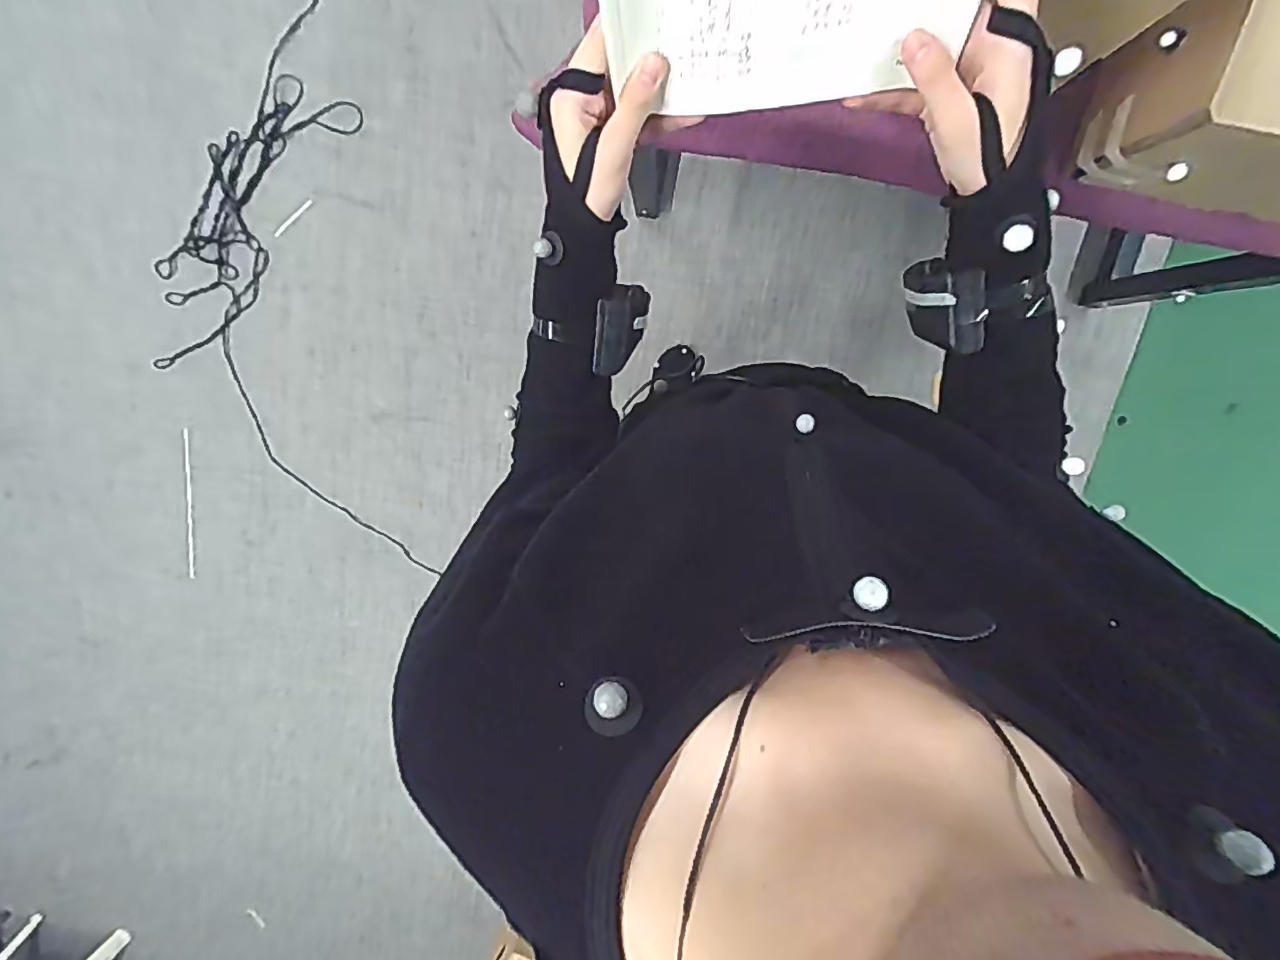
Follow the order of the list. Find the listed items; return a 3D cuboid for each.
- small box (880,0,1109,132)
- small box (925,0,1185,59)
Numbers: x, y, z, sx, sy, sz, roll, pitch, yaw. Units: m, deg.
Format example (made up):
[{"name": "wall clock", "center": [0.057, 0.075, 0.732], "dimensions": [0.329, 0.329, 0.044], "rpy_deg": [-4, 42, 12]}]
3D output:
[{"name": "small box", "center": [0.376, -0.502, 0.565], "dimensions": [0.168, 0.176, 0.179], "rpy_deg": [12, 100, 1]}, {"name": "small box", "center": [0.357, -0.463, 0.407], "dimensions": [0.179, 0.176, 0.168], "rpy_deg": [12, 101, 1]}]
